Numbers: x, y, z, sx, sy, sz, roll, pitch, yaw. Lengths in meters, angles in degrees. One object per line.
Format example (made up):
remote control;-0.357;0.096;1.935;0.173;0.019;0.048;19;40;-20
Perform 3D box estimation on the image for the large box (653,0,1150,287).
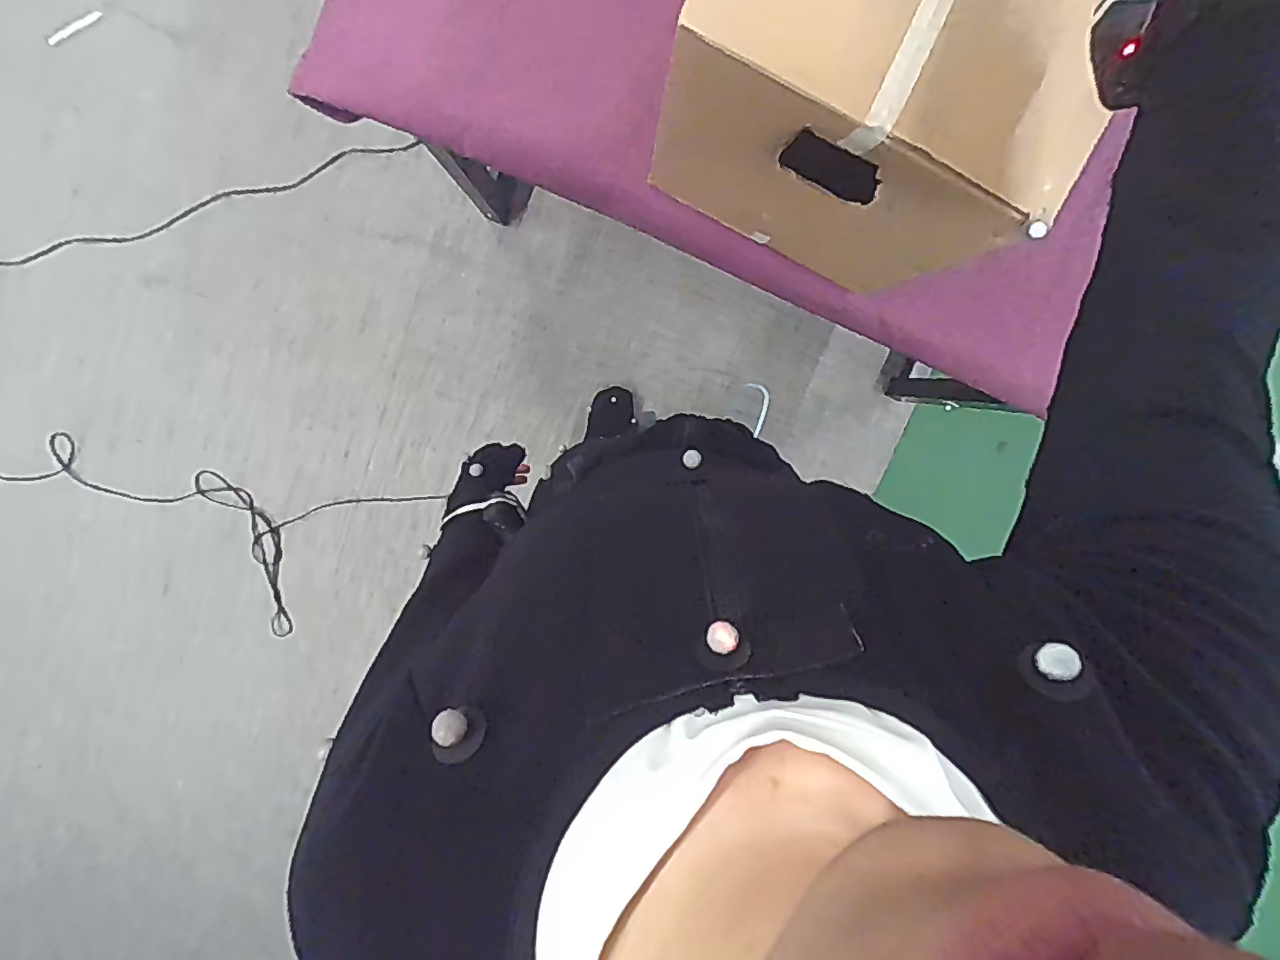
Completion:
large box;0.240;-0.461;0.525;0.320;0.320;0.408;24;99;-7
